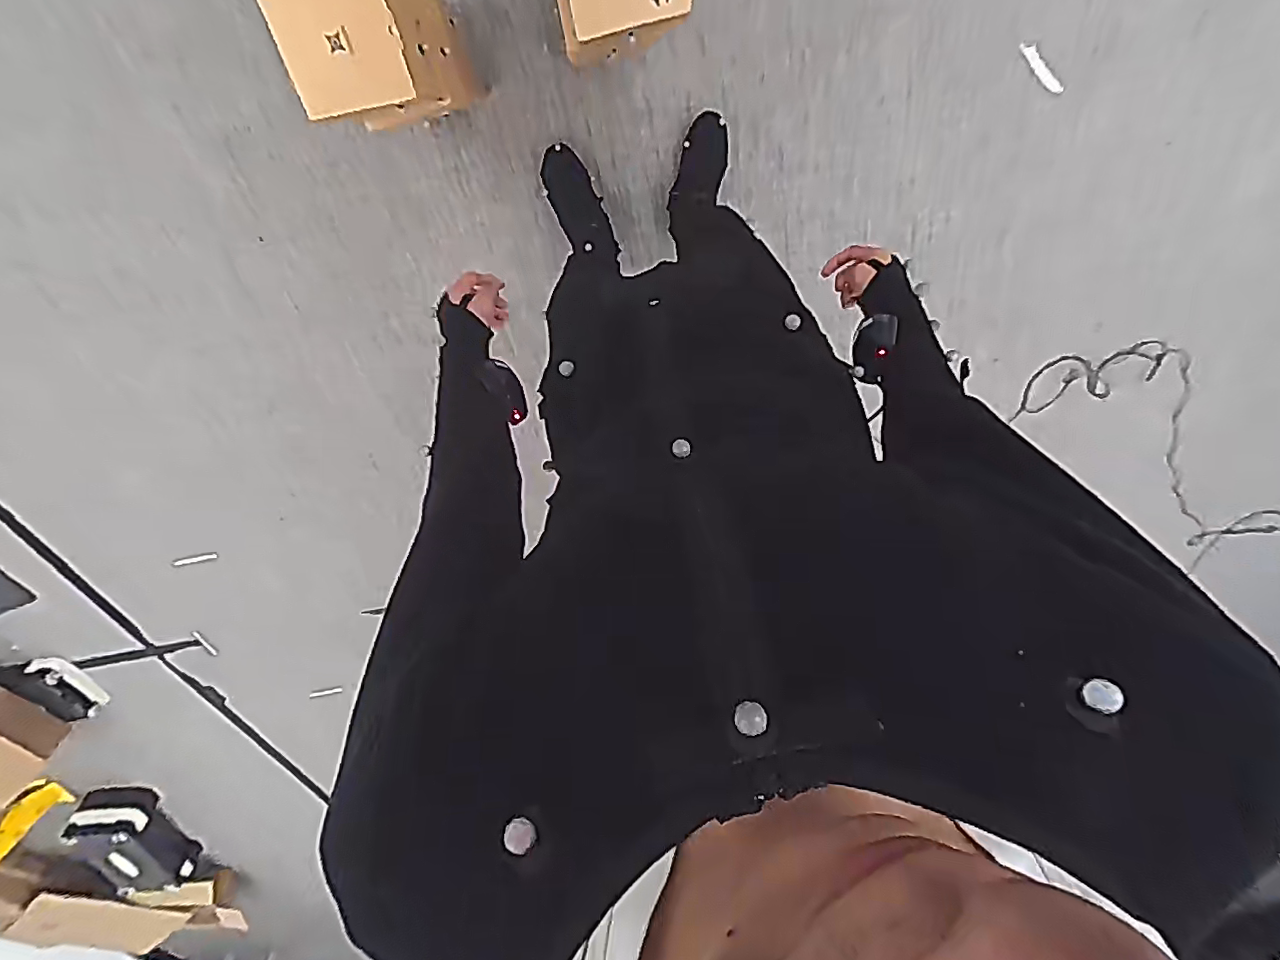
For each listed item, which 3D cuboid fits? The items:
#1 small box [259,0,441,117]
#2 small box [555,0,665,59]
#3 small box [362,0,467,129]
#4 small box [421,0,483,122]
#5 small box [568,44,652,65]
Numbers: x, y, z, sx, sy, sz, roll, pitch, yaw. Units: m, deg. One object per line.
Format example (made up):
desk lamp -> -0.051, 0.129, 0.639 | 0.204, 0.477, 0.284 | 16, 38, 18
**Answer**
small box -> -0.438, -0.676, 0.842 | 0.179, 0.176, 0.168 | -10, 125, 2
small box -> -0.061, -0.861, 0.951 | 0.179, 0.176, 0.168 | -10, 124, 0
small box -> -0.437, -0.761, 0.982 | 0.168, 0.176, 0.179 | -14, 125, 5
small box -> -0.444, -0.859, 1.113 | 0.168, 0.176, 0.179 | -16, 125, 6
small box -> -0.075, -0.953, 1.086 | 0.179, 0.176, 0.168 | -11, 125, 1
